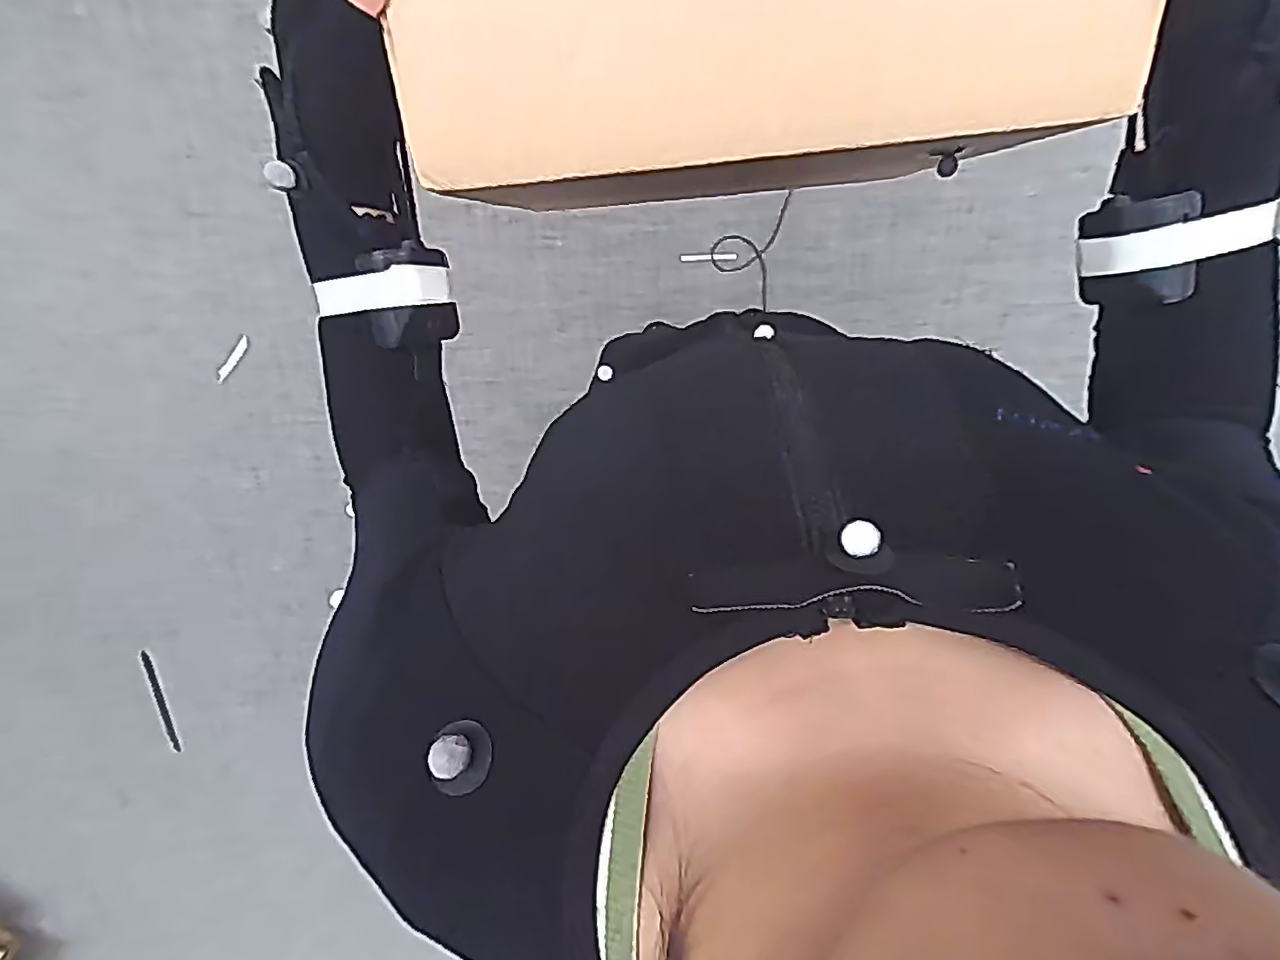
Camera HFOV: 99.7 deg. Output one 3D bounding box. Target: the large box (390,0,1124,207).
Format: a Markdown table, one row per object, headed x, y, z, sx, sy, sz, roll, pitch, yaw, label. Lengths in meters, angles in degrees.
| x | y | z | sx | sy | sz | roll | pitch | yaw | label |
| --- | --- | --- | --- | --- | --- | --- | --- | --- | --- |
| 0.060 | -0.394 | 0.396 | 0.408 | 0.320 | 0.320 | -4 | 114 | 4 | large box |
